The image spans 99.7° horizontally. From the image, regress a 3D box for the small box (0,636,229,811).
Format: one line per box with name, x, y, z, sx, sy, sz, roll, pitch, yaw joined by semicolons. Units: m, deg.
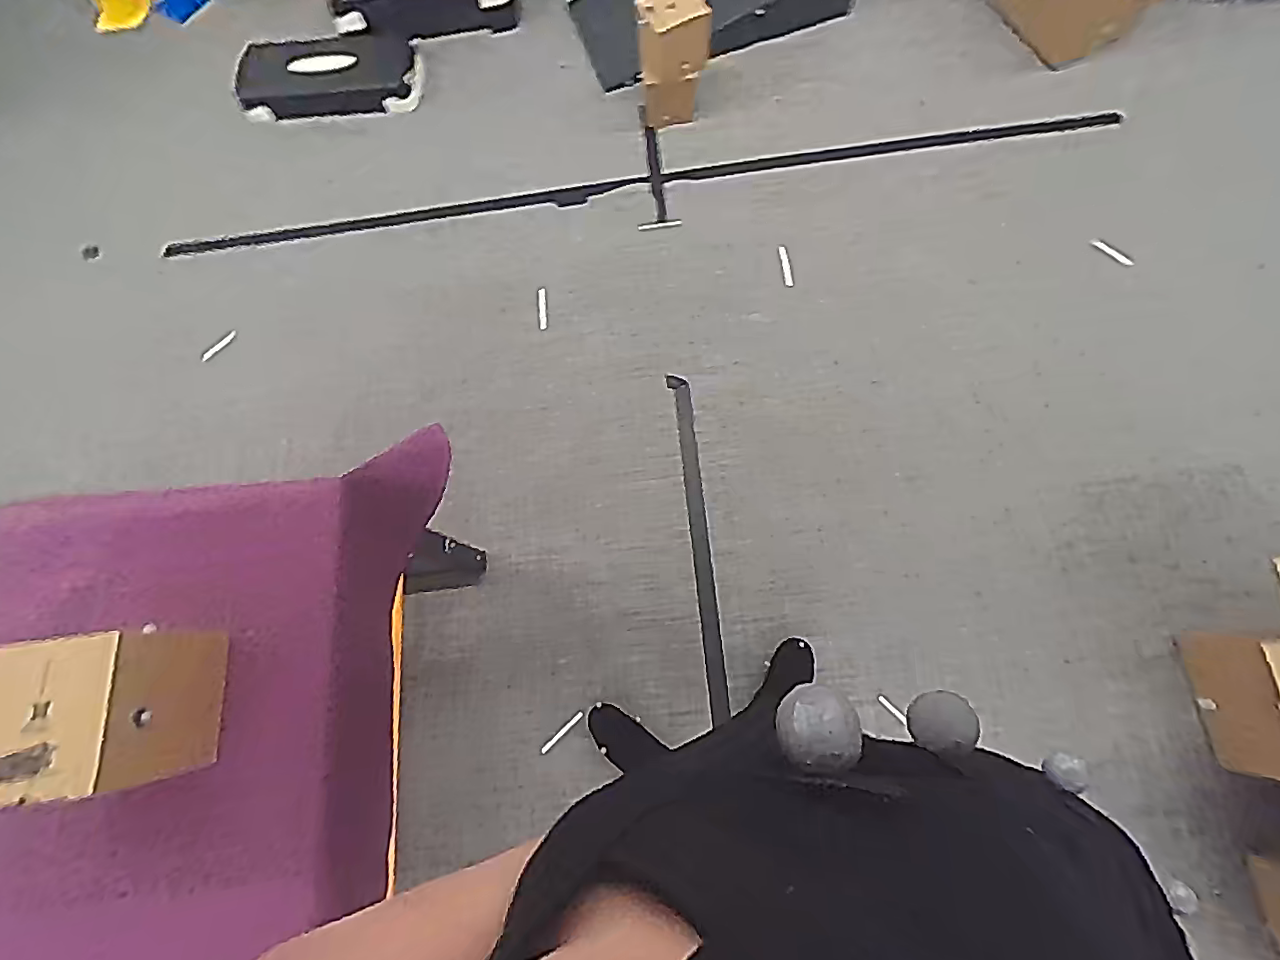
small box;-0.671;0.297;0.691;0.168;0.176;0.179;-7;73;2
